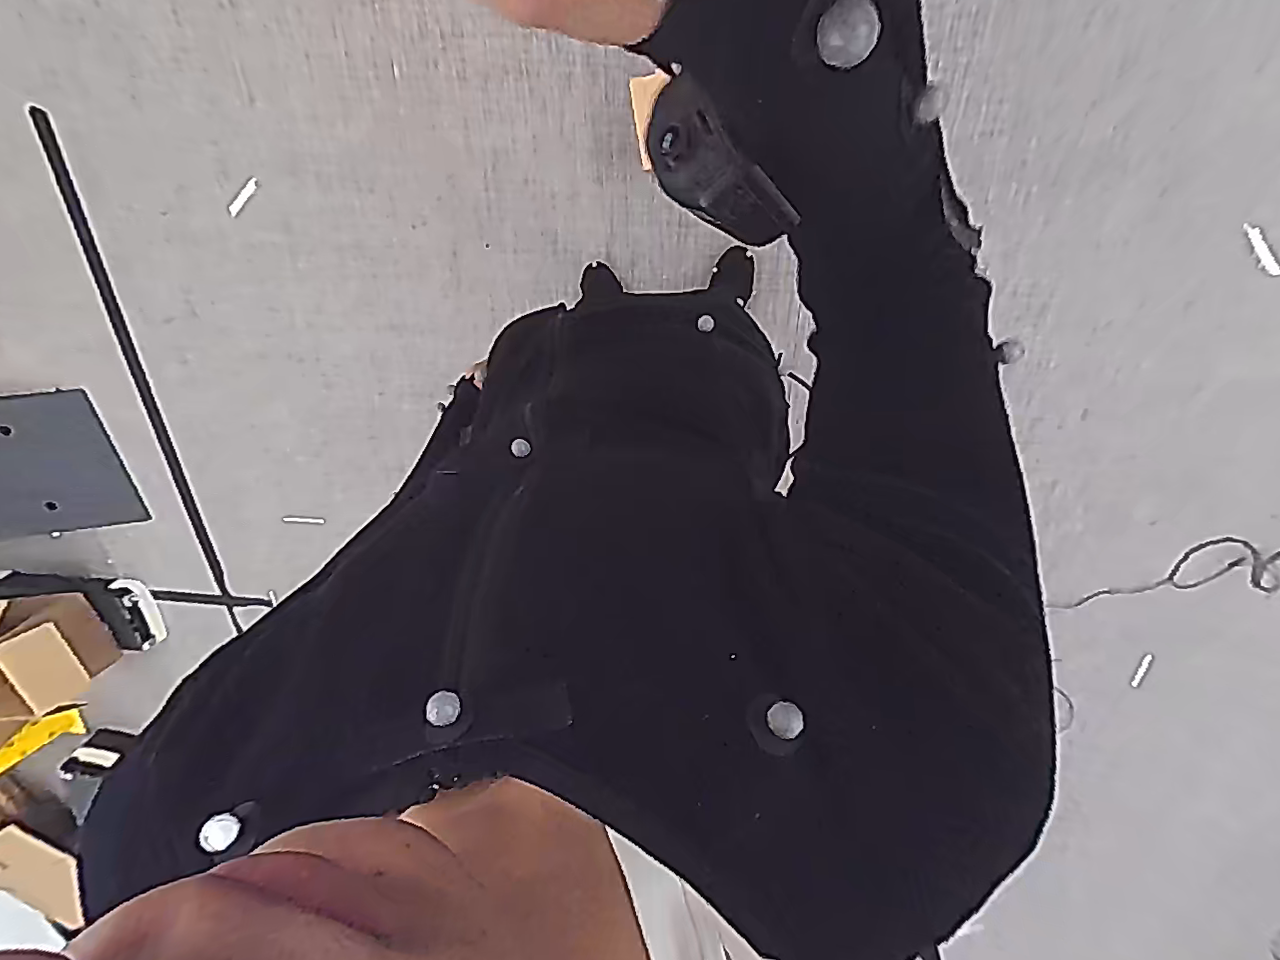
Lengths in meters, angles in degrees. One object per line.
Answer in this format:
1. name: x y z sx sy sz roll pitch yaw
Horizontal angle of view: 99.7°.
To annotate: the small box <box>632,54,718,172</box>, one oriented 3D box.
1. small box: 0.084 -0.824 1.231 0.168 0.176 0.179 -7 114 10
